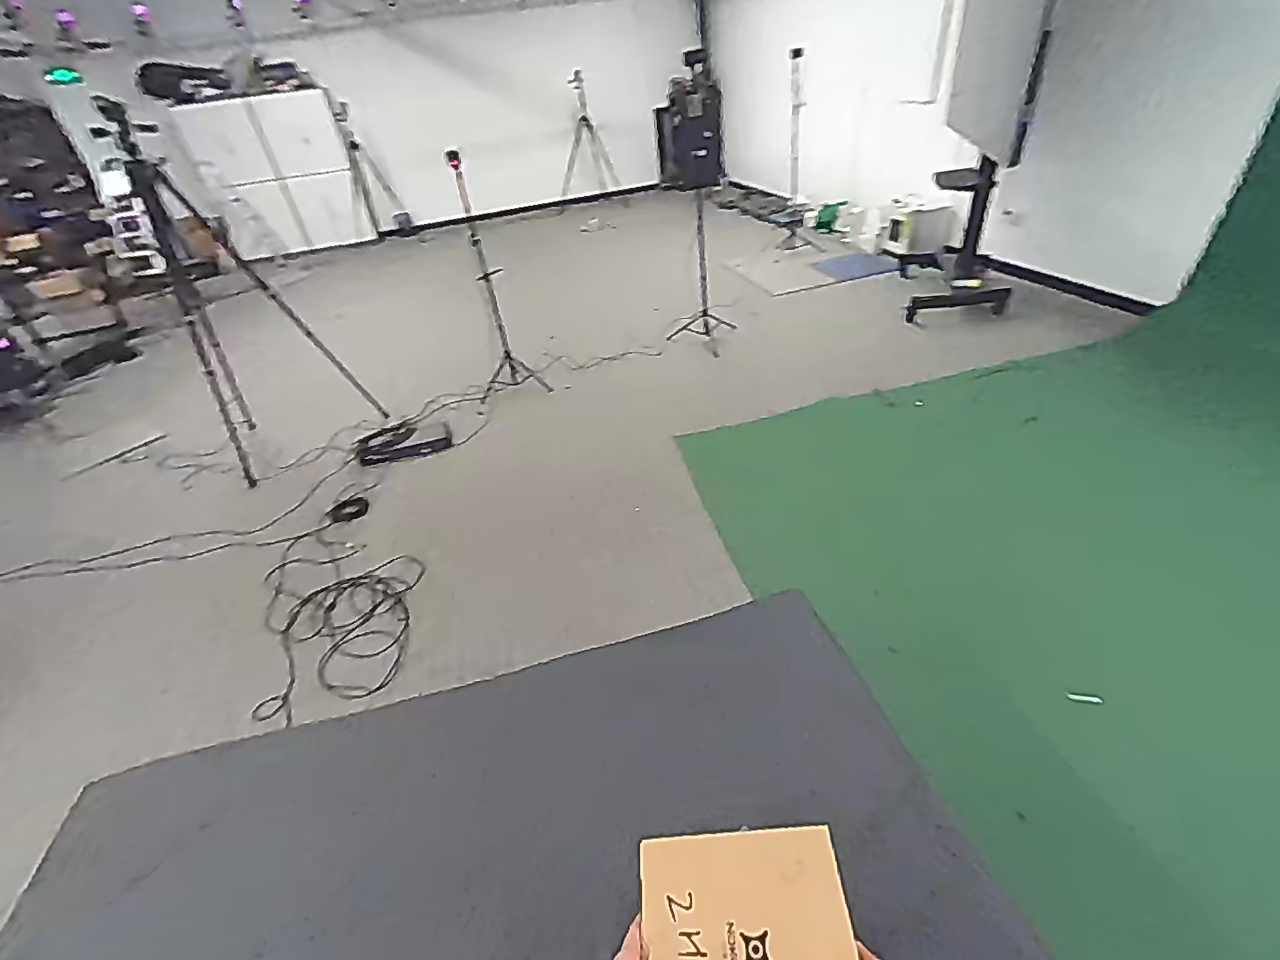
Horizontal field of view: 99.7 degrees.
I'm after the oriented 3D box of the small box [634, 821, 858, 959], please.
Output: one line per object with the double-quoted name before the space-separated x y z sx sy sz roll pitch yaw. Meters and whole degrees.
"small box" 0.096 0.425 0.479 0.179 0.176 0.168 -9 40 8
